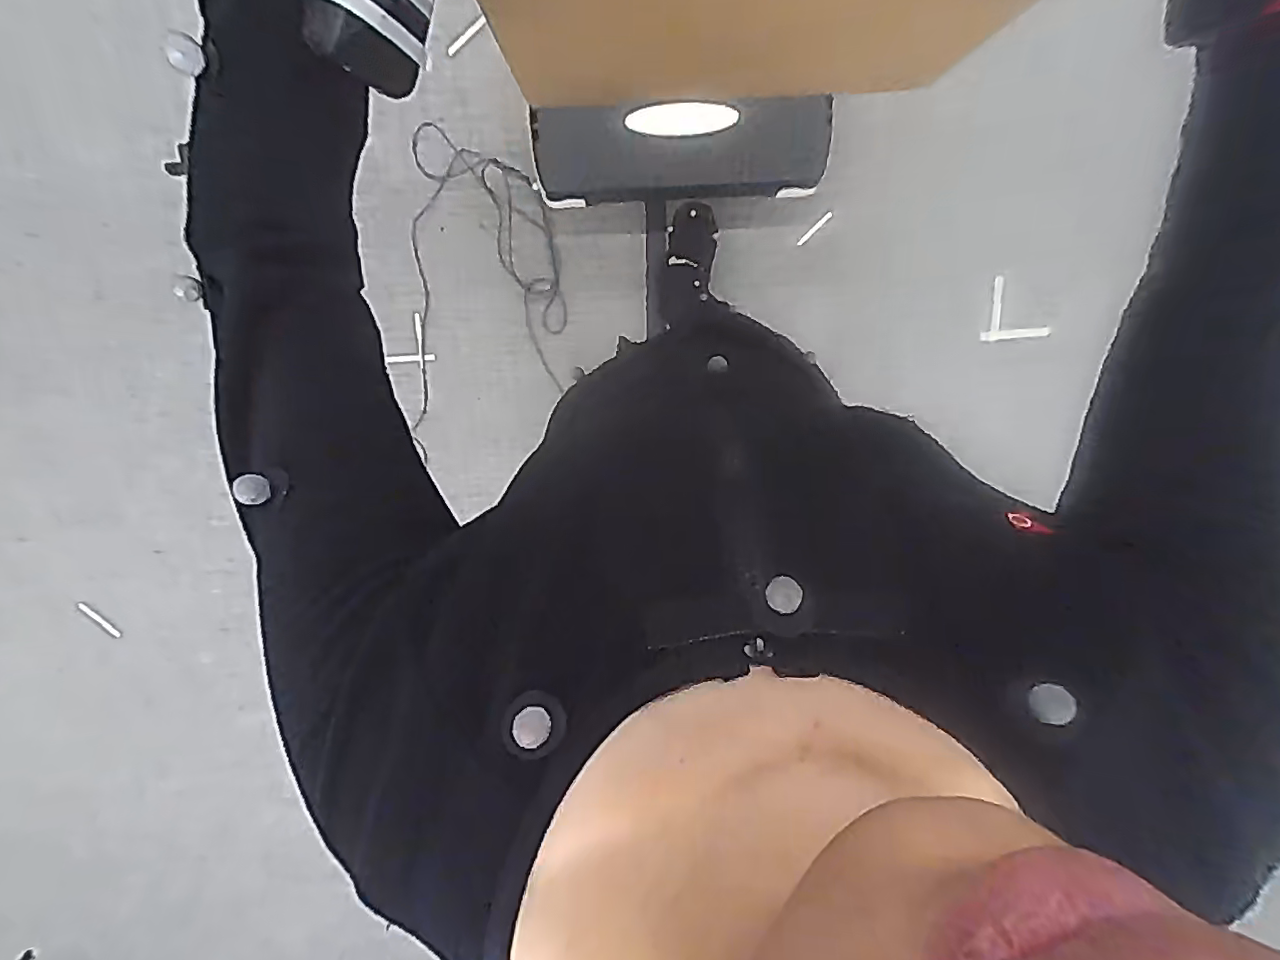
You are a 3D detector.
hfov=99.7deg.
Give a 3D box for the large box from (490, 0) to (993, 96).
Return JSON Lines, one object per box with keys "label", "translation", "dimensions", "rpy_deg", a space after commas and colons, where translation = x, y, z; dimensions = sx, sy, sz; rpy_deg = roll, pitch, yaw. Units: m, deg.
{"label": "large box", "translation": [0.077, -0.502, 0.360], "dimensions": [0.408, 0.320, 0.320], "rpy_deg": [-3, 107, 0]}
